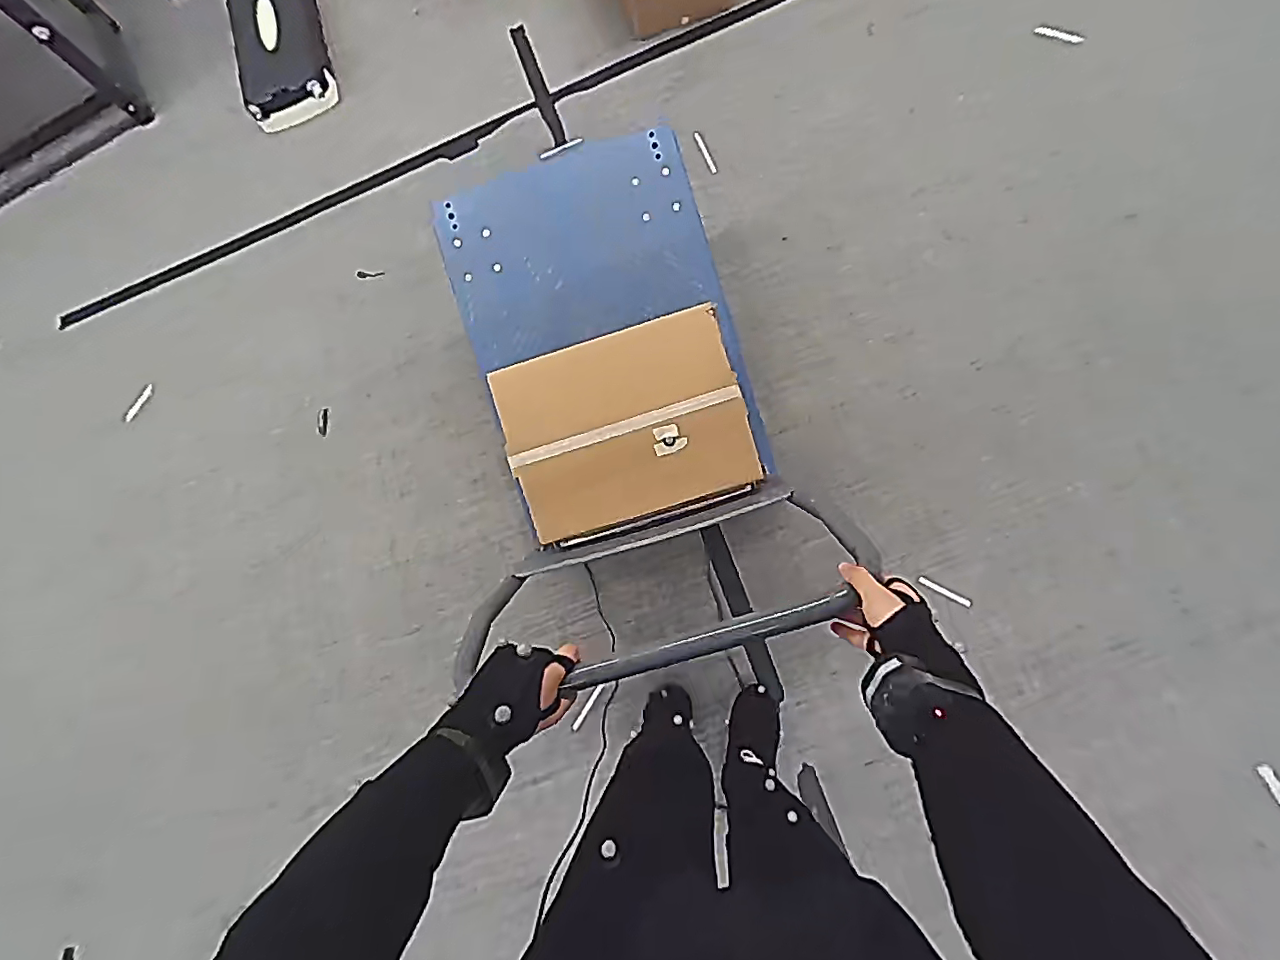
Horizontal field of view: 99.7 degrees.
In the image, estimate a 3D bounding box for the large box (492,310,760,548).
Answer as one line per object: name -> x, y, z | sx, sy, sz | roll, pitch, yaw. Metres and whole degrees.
large box -> -0.021, -0.091, 1.081 | 0.408, 0.320, 0.320 | -18, 93, 3
